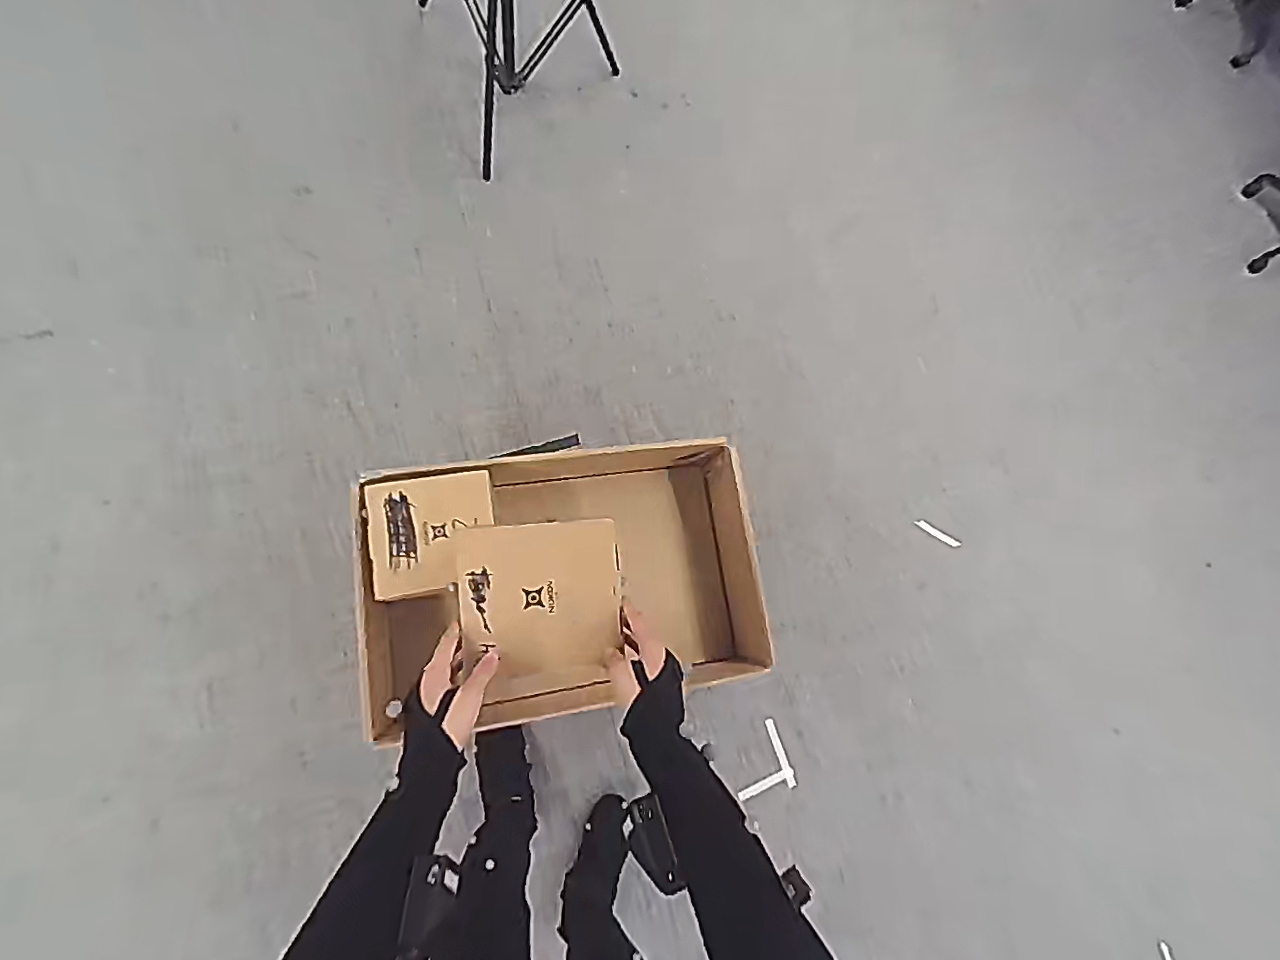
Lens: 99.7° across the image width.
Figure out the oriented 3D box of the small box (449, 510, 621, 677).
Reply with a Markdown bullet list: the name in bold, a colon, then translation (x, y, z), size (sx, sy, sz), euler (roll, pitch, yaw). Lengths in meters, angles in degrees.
- **small box**: translation (-0.126, 0.123, 0.654), size (0.179, 0.176, 0.168), euler (-4, 87, -11)
